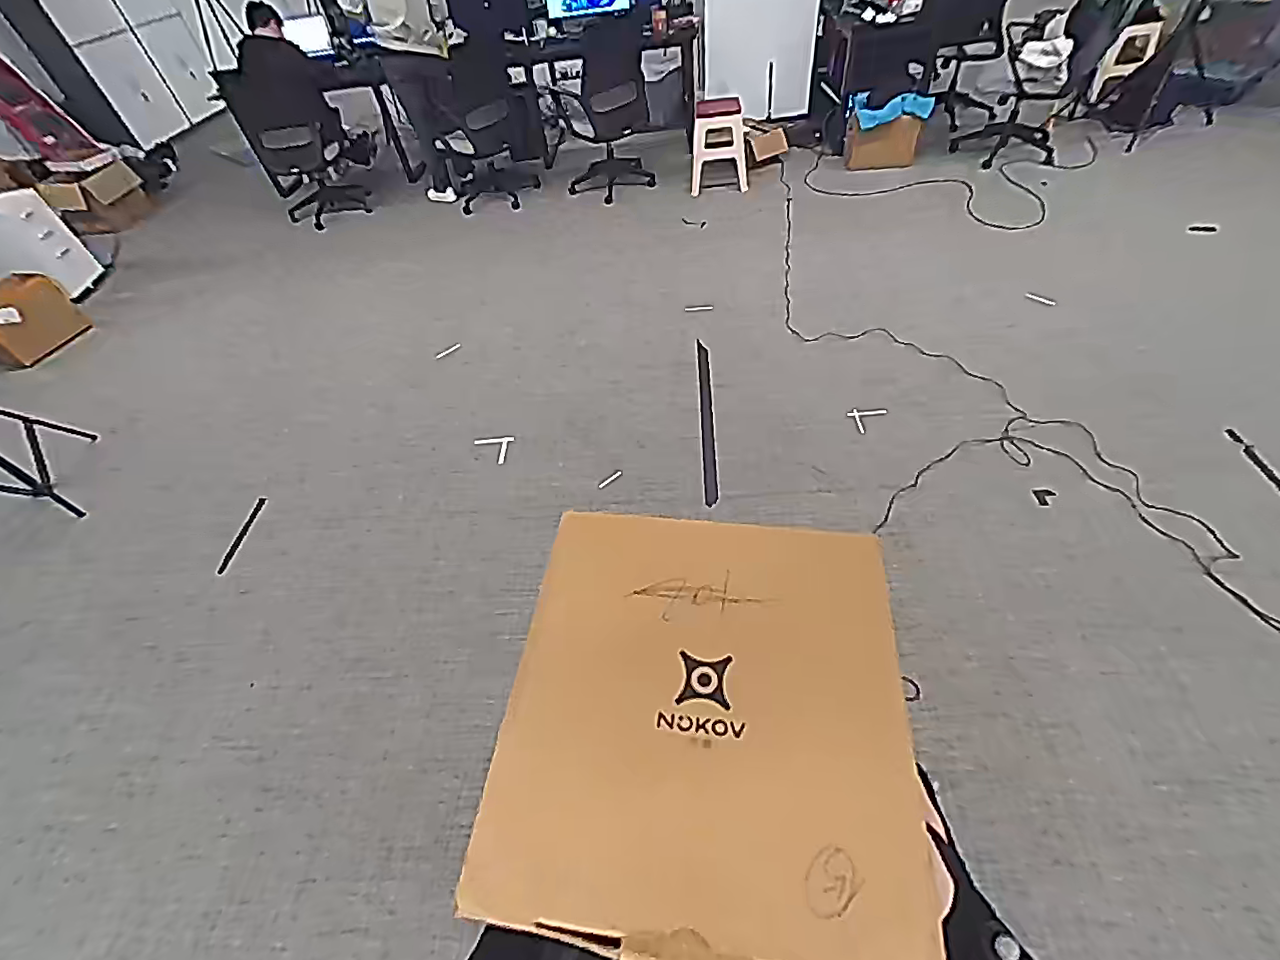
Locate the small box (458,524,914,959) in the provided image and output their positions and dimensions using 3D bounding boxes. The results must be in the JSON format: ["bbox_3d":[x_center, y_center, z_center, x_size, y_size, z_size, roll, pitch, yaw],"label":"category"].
[{"bbox_3d":[0.028,0.148,0.301,0.168,0.176,0.179,4,50,7],"label":"small box"}]
